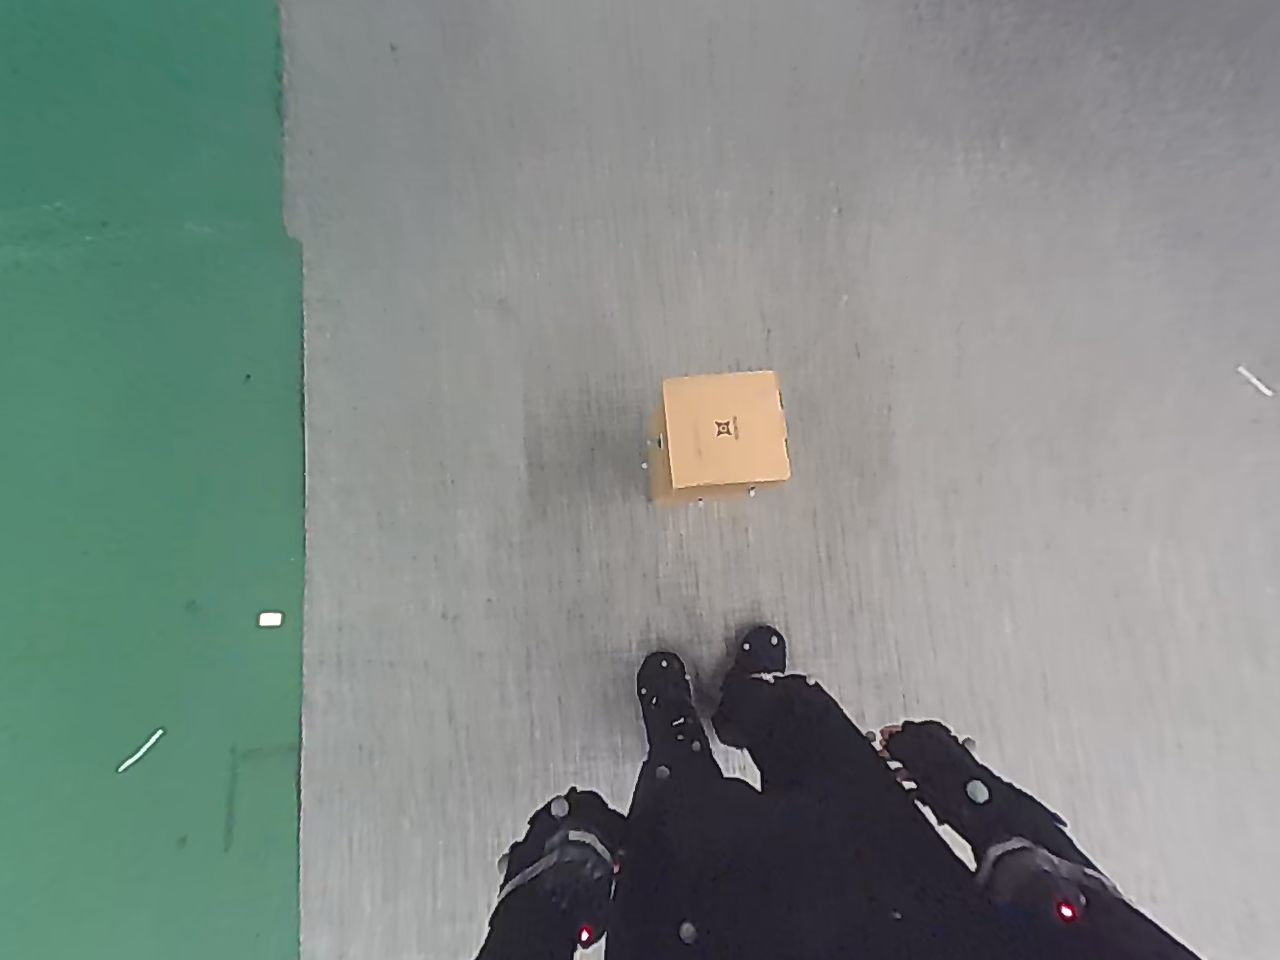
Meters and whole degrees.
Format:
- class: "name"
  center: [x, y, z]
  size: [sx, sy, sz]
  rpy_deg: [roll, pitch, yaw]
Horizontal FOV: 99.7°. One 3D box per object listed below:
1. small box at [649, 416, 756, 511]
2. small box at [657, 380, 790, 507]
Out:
- class: "small box"
  center: [0.113, -0.033, 1.033]
  size: [0.179, 0.176, 0.168]
  rpy_deg: [-6, 84, -1]
- class: "small box"
  center: [0.124, -0.051, 0.869]
  size: [0.179, 0.176, 0.168]
  rpy_deg: [-6, 82, 0]
